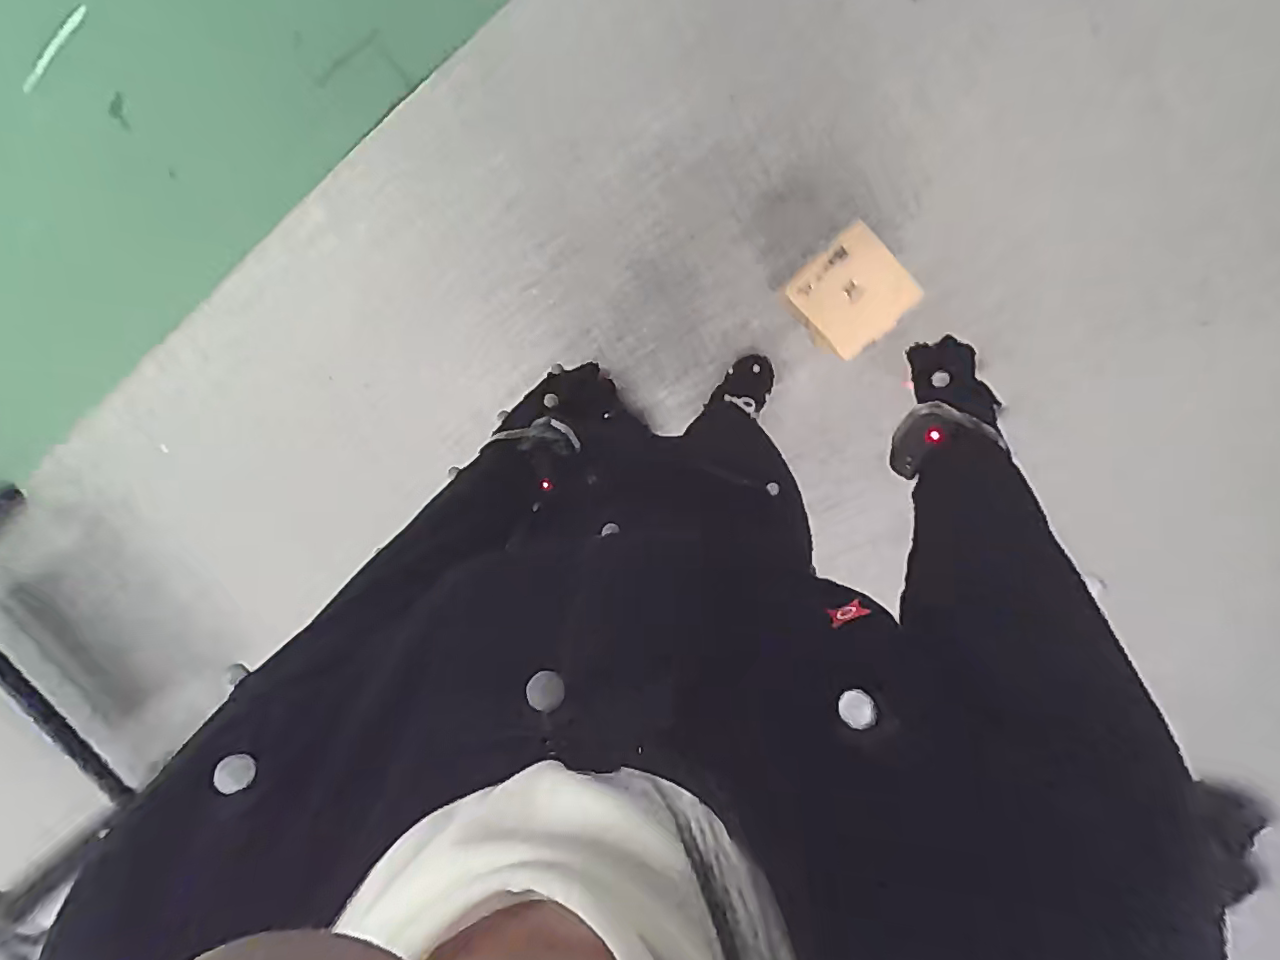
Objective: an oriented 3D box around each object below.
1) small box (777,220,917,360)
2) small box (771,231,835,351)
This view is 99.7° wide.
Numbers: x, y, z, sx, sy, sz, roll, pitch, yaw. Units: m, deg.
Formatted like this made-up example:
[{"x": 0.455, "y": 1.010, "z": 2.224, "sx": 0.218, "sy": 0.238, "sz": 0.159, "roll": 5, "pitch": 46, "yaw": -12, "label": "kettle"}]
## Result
[{"x": 0.377, "y": -0.354, "z": 1.016, "sx": 0.179, "sy": 0.176, "sz": 0.168, "roll": 45, "pitch": 111, "yaw": -5, "label": "small box"}, {"x": 0.403, "y": -0.404, "z": 1.168, "sx": 0.168, "sy": 0.176, "sz": 0.179, "roll": -42, "pitch": 95, "yaw": 19, "label": "small box"}]
